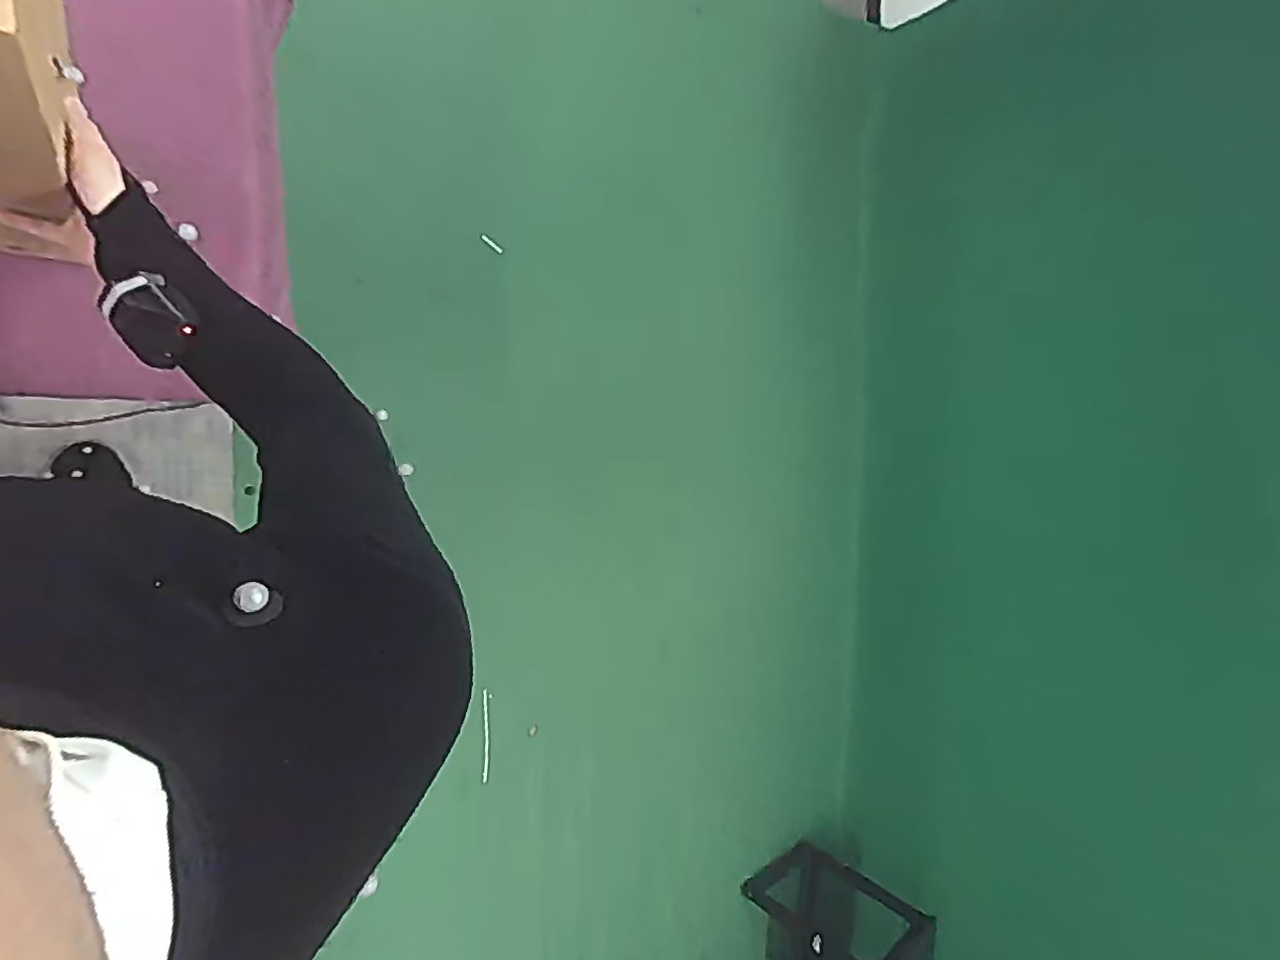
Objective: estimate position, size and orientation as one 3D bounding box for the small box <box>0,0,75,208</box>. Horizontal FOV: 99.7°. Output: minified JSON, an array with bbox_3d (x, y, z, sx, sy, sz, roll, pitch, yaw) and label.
[{"bbox_3d":[-0.541,-0.328,0.393,0.168,0.176,0.179,-3,94,-42],"label":"small box"}]

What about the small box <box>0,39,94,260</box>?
[{"bbox_3d":[-0.651,-0.335,0.518,0.168,0.176,0.179,-5,96,-41],"label":"small box"}]
